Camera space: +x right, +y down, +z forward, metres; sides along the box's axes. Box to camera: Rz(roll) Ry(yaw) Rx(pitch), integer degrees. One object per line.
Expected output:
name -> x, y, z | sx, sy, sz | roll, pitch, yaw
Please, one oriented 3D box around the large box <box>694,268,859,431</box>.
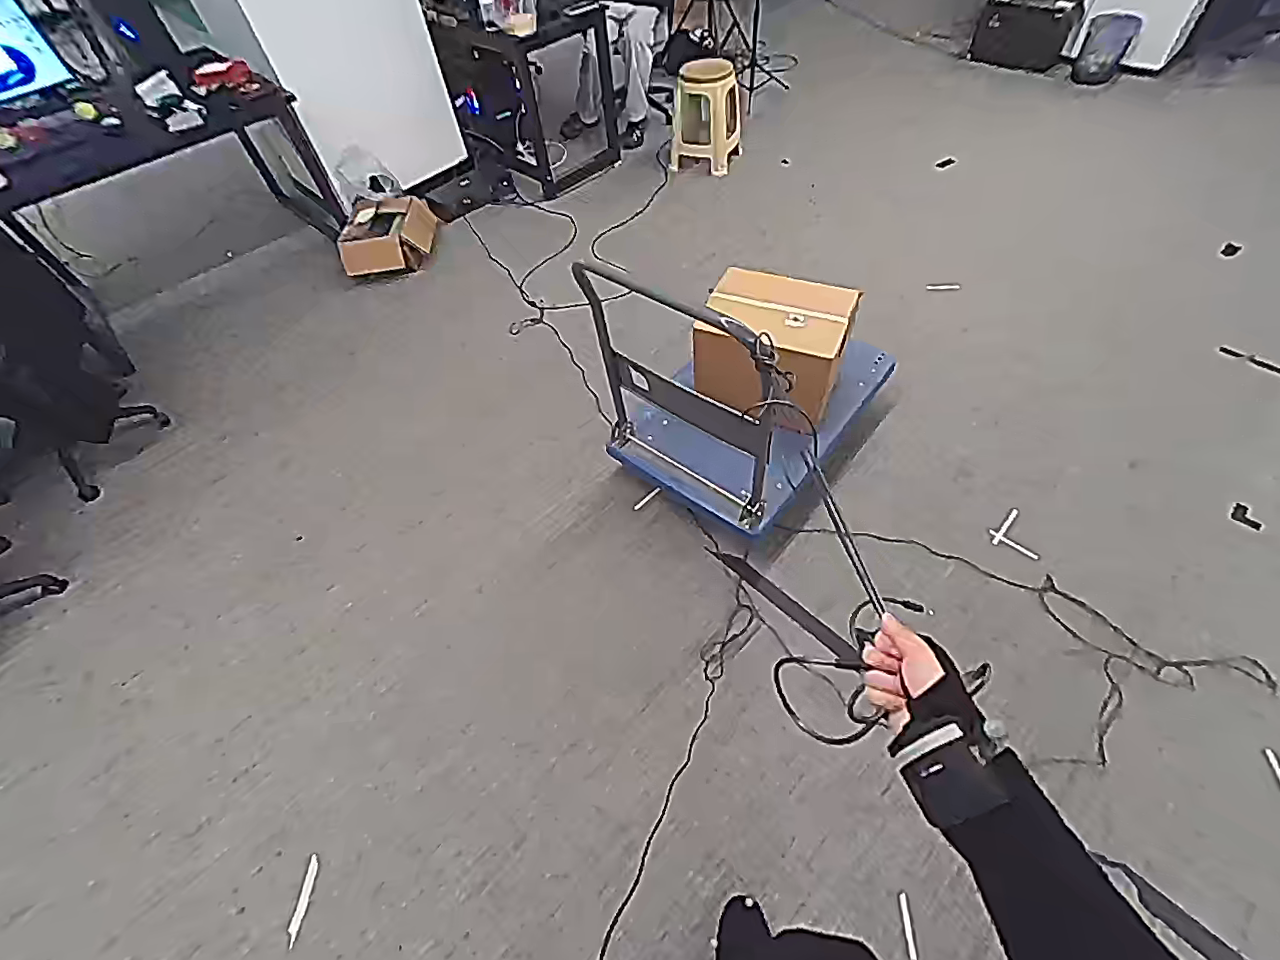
large box -> 0.403, -0.403, 1.664 | 0.408, 0.320, 0.320 | 19, 59, 18
